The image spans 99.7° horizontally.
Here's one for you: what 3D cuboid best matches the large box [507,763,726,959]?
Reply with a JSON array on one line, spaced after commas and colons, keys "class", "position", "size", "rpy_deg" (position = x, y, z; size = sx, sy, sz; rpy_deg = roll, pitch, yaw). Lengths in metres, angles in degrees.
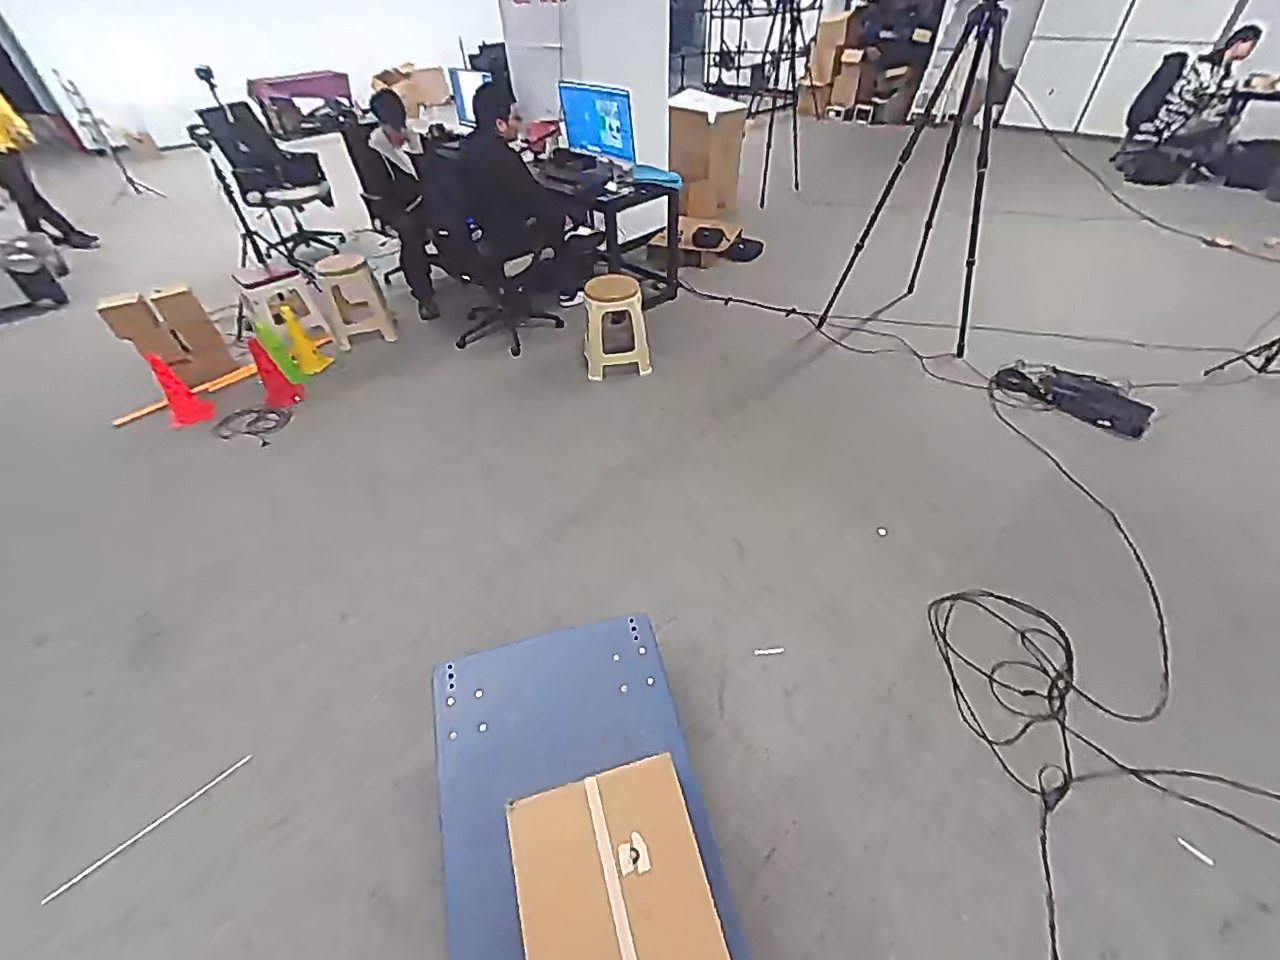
[{"class": "large box", "position": [-0.043, 0.817, 1.027], "size": [0.320, 0.320, 0.408], "rpy_deg": [-12, 57, -11]}]
